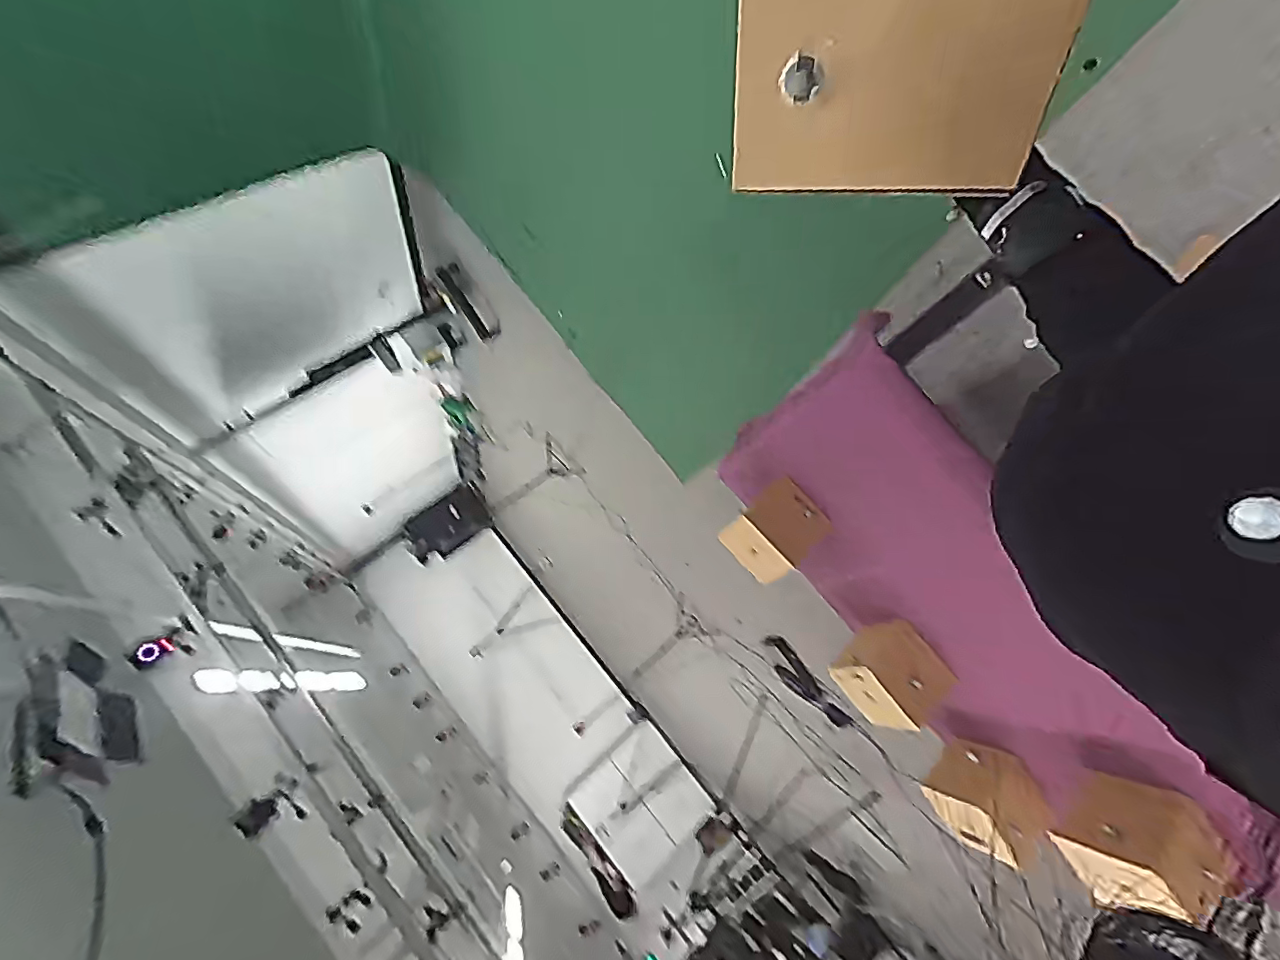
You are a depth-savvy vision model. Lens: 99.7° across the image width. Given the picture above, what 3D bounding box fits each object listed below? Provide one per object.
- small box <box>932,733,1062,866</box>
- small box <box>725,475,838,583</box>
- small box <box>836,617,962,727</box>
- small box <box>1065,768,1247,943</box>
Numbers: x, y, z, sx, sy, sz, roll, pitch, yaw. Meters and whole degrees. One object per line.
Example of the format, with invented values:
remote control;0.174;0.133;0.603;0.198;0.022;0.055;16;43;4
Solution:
small box;0.847;0.745;1.281;0.179;0.176;0.168;56;155;-5
small box;0.343;0.120;1.312;0.168;0.176;0.179;46;155;9
small box;0.618;0.454;1.288;0.179;0.176;0.168;49;155;6
small box;0.944;0.665;0.987;0.168;0.176;0.179;53;157;-1
